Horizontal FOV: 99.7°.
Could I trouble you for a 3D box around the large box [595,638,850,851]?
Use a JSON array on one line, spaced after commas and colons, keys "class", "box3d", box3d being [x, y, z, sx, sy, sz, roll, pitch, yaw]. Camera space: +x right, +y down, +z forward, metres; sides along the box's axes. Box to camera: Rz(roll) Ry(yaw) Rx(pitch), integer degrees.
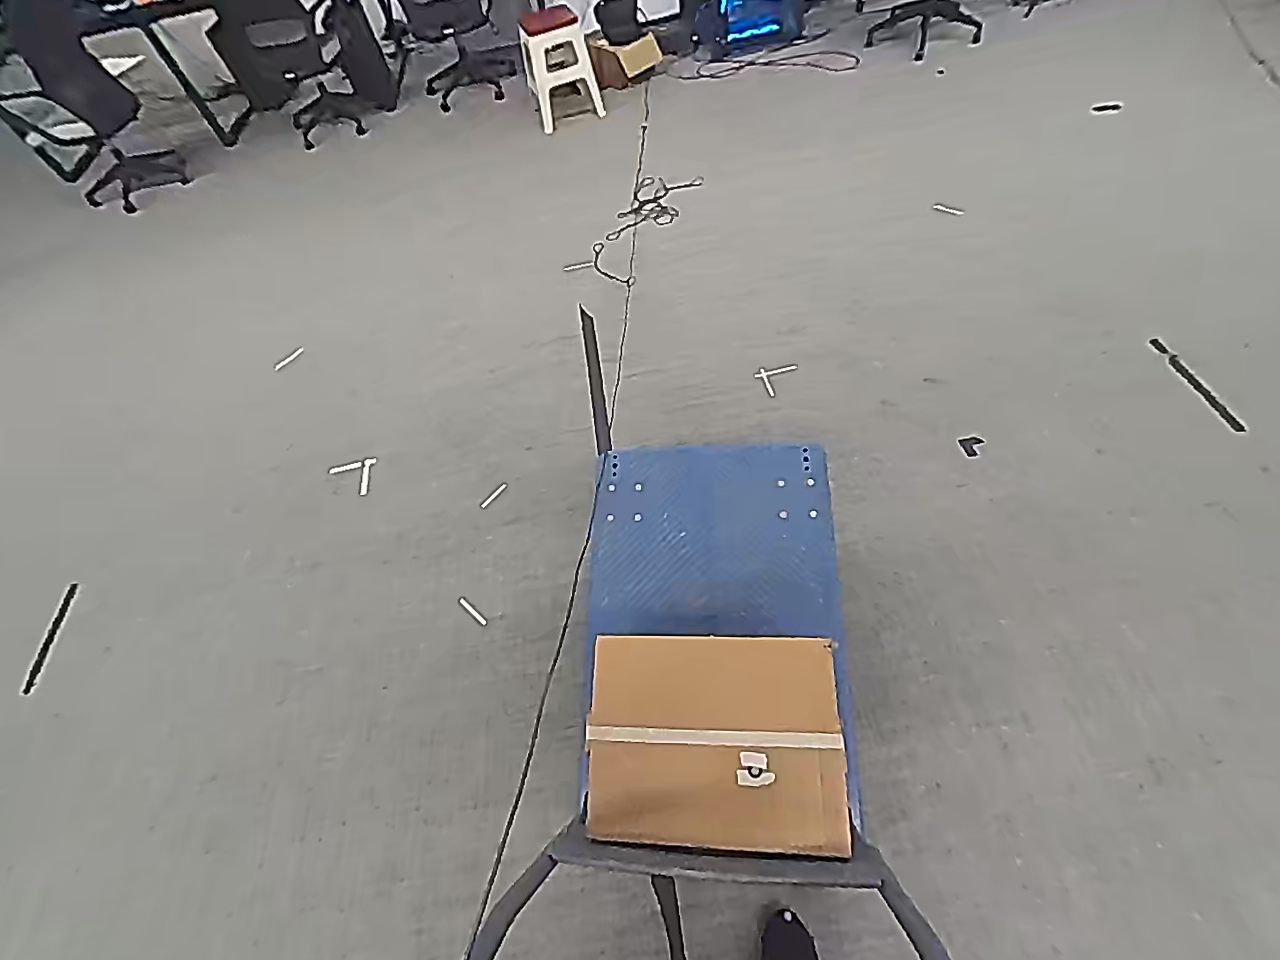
[{"class": "large box", "box3d": [0.142, 0.478, 1.029, 0.408, 0.320, 0.320, -2, 69, 8]}]
